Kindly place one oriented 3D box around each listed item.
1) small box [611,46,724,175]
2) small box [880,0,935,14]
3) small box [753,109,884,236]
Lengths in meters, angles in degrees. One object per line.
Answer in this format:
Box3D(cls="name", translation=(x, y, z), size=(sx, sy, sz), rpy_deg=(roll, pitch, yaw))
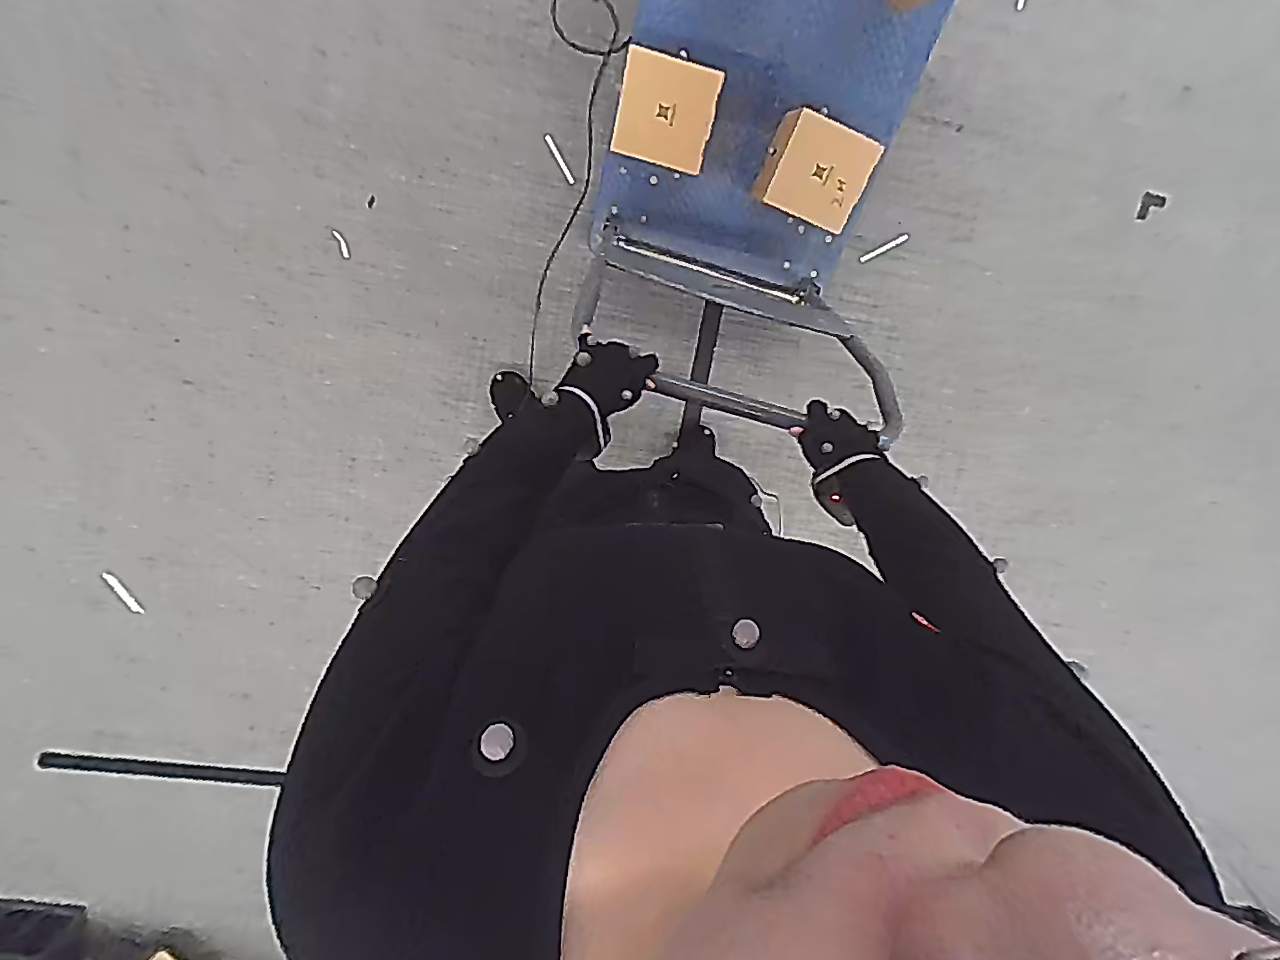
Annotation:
Box3D(cls="small box", translation=(0.046, -0.707, 1.054), size=(0.179, 0.176, 0.168), rpy_deg=(11, 120, -8))
Box3D(cls="small box", translation=(0.475, -0.946, 0.911), size=(0.168, 0.176, 0.179), rpy_deg=(24, 119, -13))
Box3D(cls="small box", translation=(0.348, -0.620, 1.101), size=(0.179, 0.176, 0.168), rpy_deg=(19, 119, -10))
